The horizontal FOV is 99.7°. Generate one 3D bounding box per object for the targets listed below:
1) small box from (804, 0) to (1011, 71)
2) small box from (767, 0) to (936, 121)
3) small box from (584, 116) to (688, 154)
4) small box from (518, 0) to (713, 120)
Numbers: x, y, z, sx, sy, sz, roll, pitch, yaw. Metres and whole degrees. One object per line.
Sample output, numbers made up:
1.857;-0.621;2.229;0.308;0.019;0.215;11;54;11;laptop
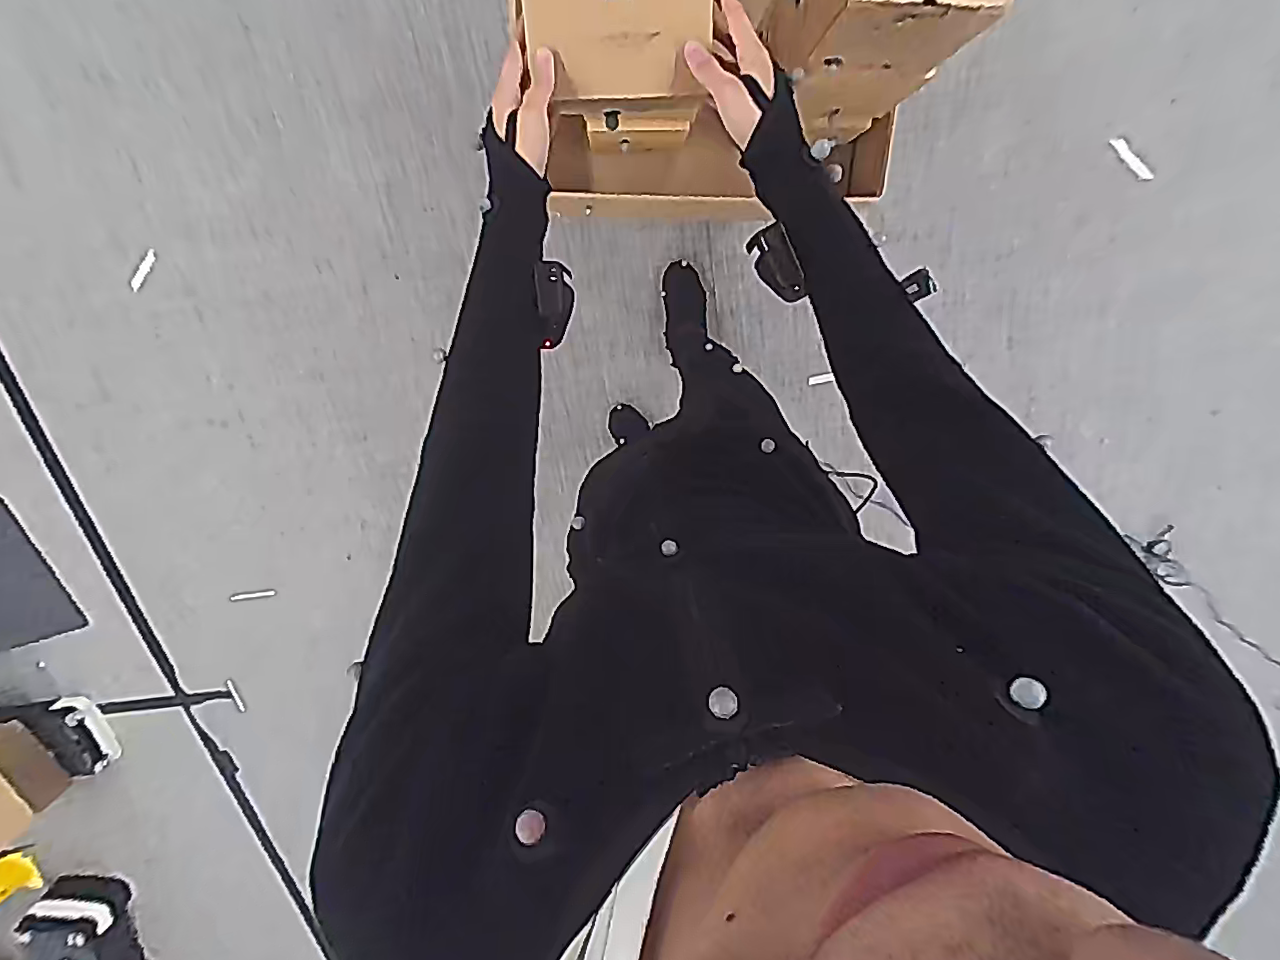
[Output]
0.284;-0.569;0.576;0.168;0.176;0.179;2;108;-1;small box
0.284;-0.609;0.737;0.179;0.176;0.168;-2;109;0;small box
-0.007;-0.655;0.896;0.168;0.176;0.179;-1;108;-1;small box
-0.020;-0.453;0.509;0.168;0.176;0.179;-1;120;2;small box
